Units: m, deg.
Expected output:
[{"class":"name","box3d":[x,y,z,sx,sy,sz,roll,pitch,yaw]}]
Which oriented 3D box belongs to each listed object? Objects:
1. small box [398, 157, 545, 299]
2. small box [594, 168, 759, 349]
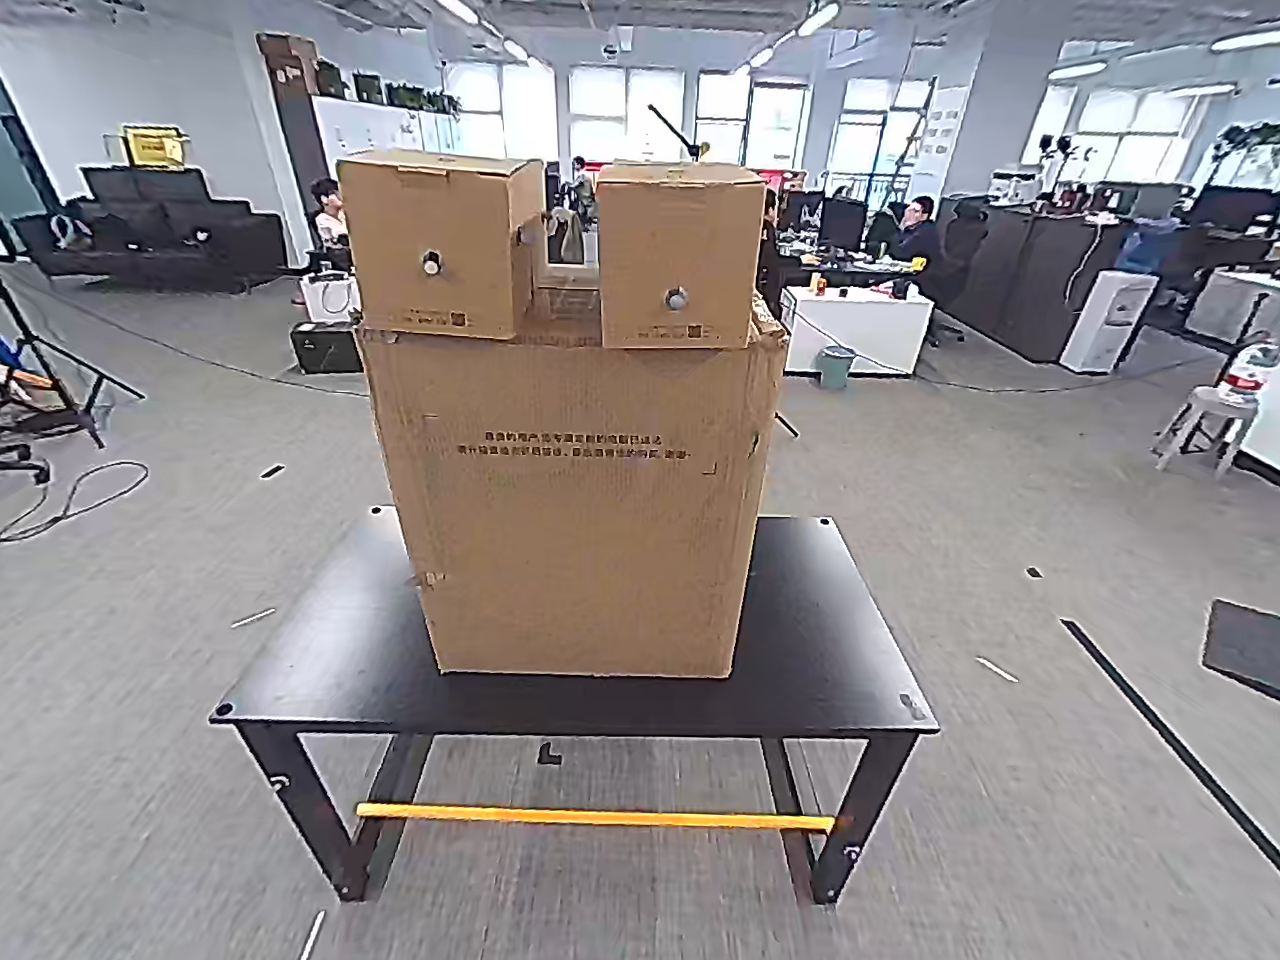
[{"class":"small box","box3d":[-0.235,-0.377,0.804,0.168,0.176,0.179,0,32,-2]},{"class":"small box","box3d":[0.035,-0.265,0.639,0.168,0.176,0.179,-1,35,-1]}]
